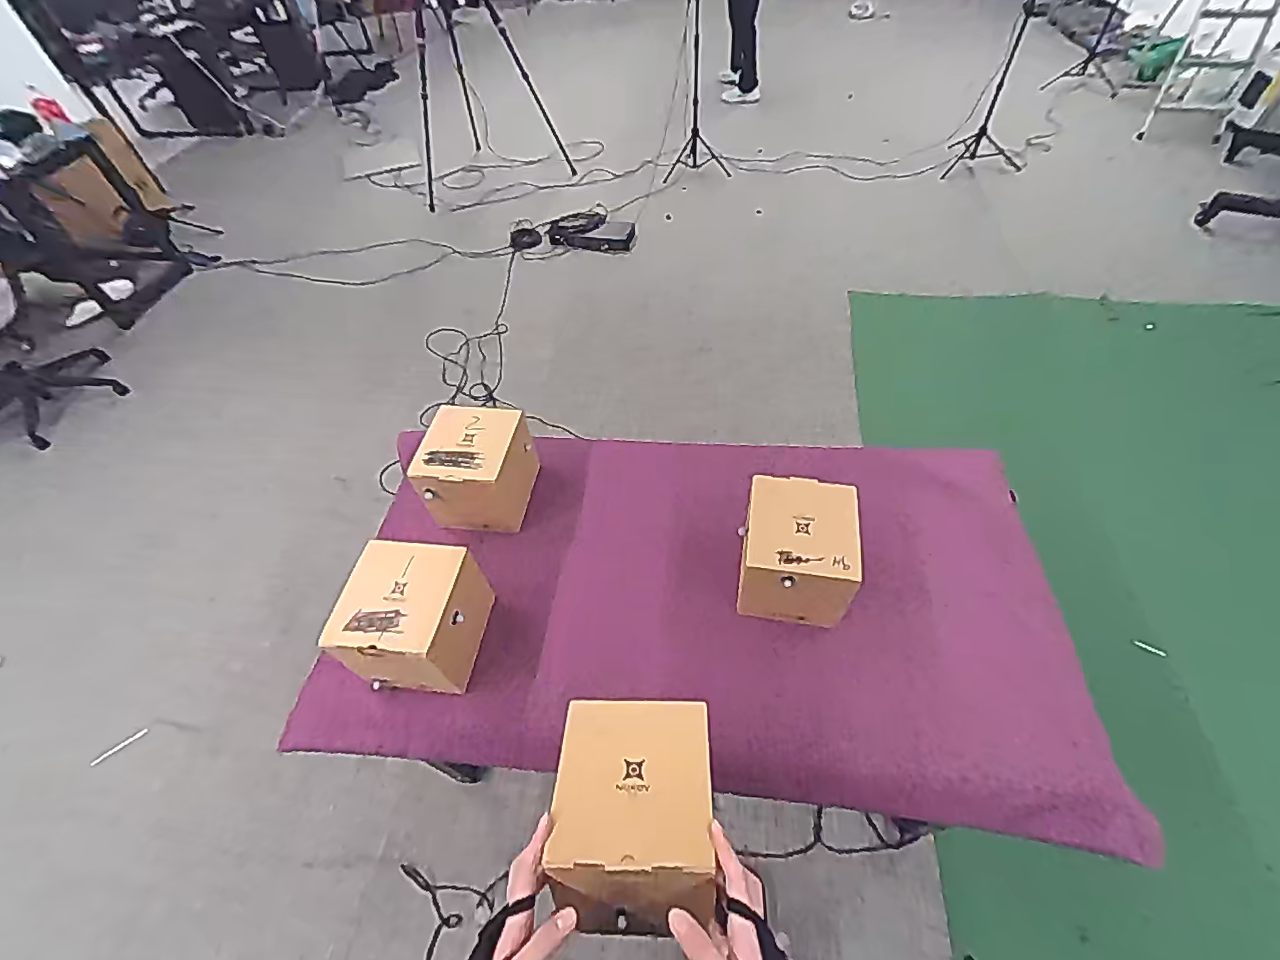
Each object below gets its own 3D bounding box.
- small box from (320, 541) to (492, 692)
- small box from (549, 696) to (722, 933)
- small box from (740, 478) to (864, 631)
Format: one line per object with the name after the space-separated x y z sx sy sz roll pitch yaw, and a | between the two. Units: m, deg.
-0.350 0.218 0.853 0.168 0.176 0.179 4 51 7 | small box
0.001 0.375 0.617 0.168 0.176 0.179 -1 34 3 | small box
0.258 0.123 0.888 0.168 0.176 0.179 7 51 10 | small box
